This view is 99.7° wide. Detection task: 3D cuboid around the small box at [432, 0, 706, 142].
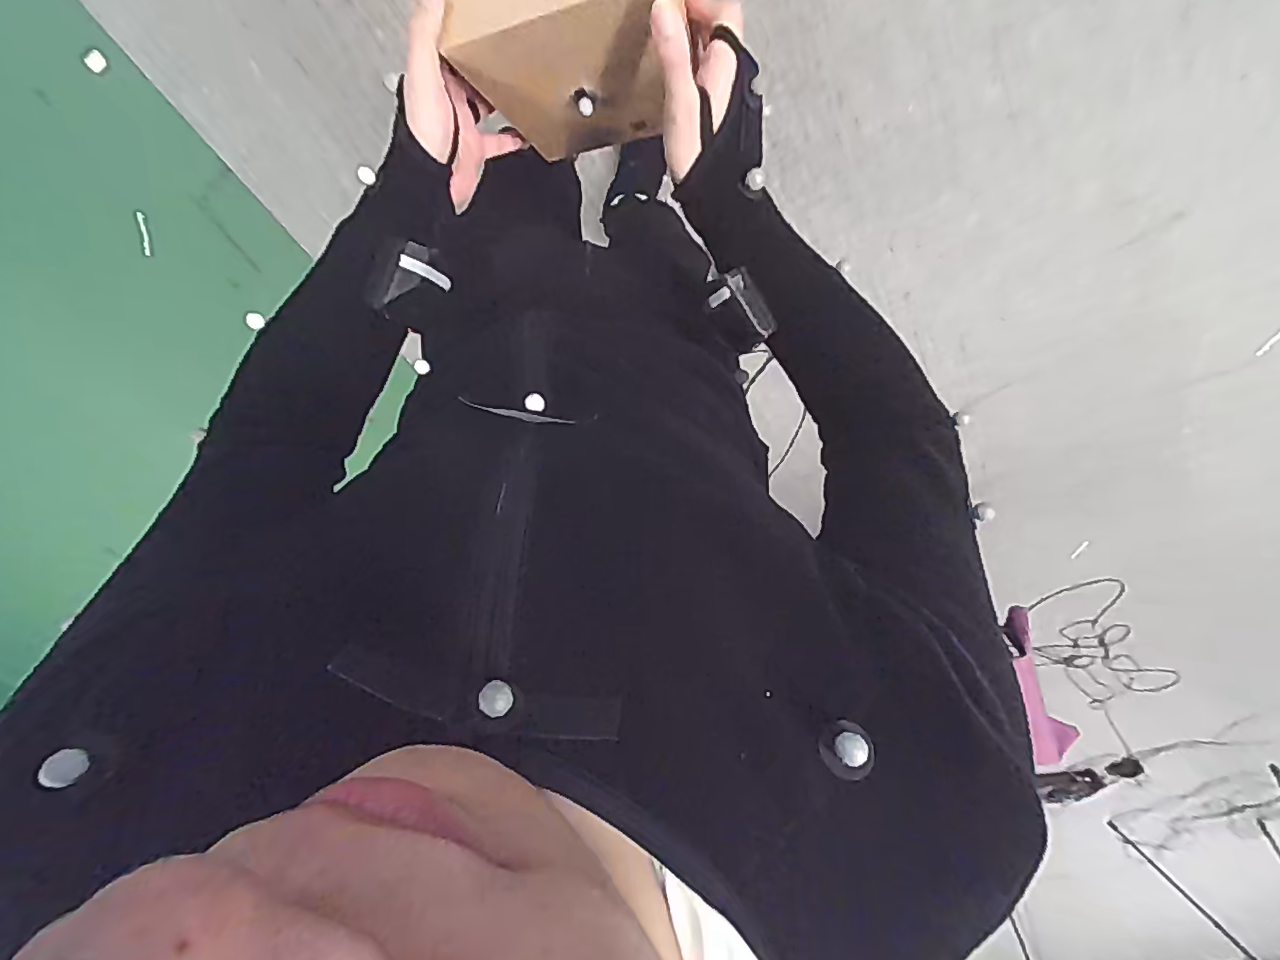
[{"bbox_3d":[-0.045,-0.398,0.423,0.168,0.176,0.179,-2,94,18],"label":"small box"}]
